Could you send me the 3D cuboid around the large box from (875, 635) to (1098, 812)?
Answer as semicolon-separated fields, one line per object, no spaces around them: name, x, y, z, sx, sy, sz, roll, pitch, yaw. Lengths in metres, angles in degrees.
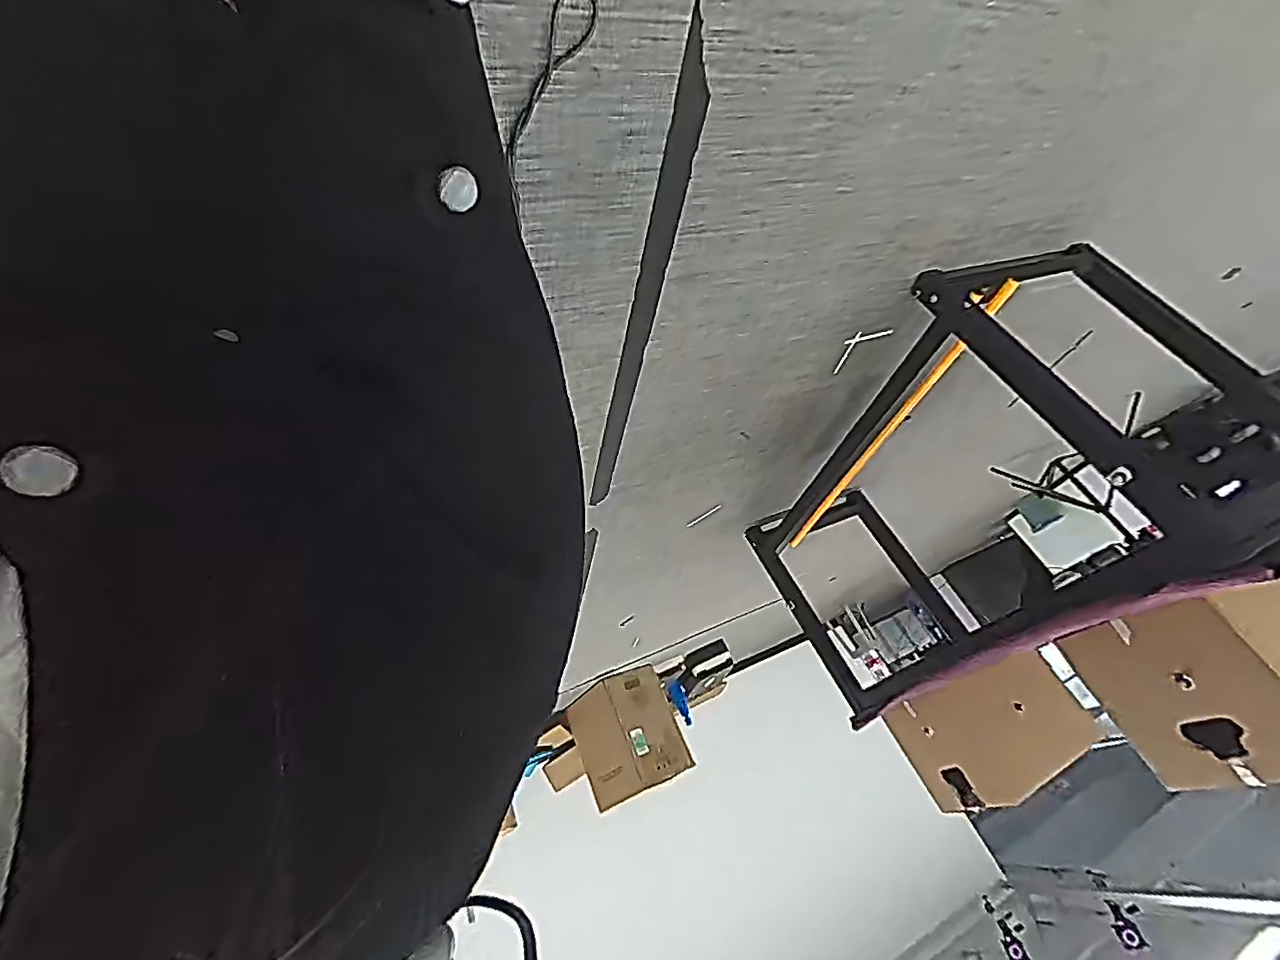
large box;1.006;0.721;1.614;0.408;0.320;0.320;-17;152;-22
